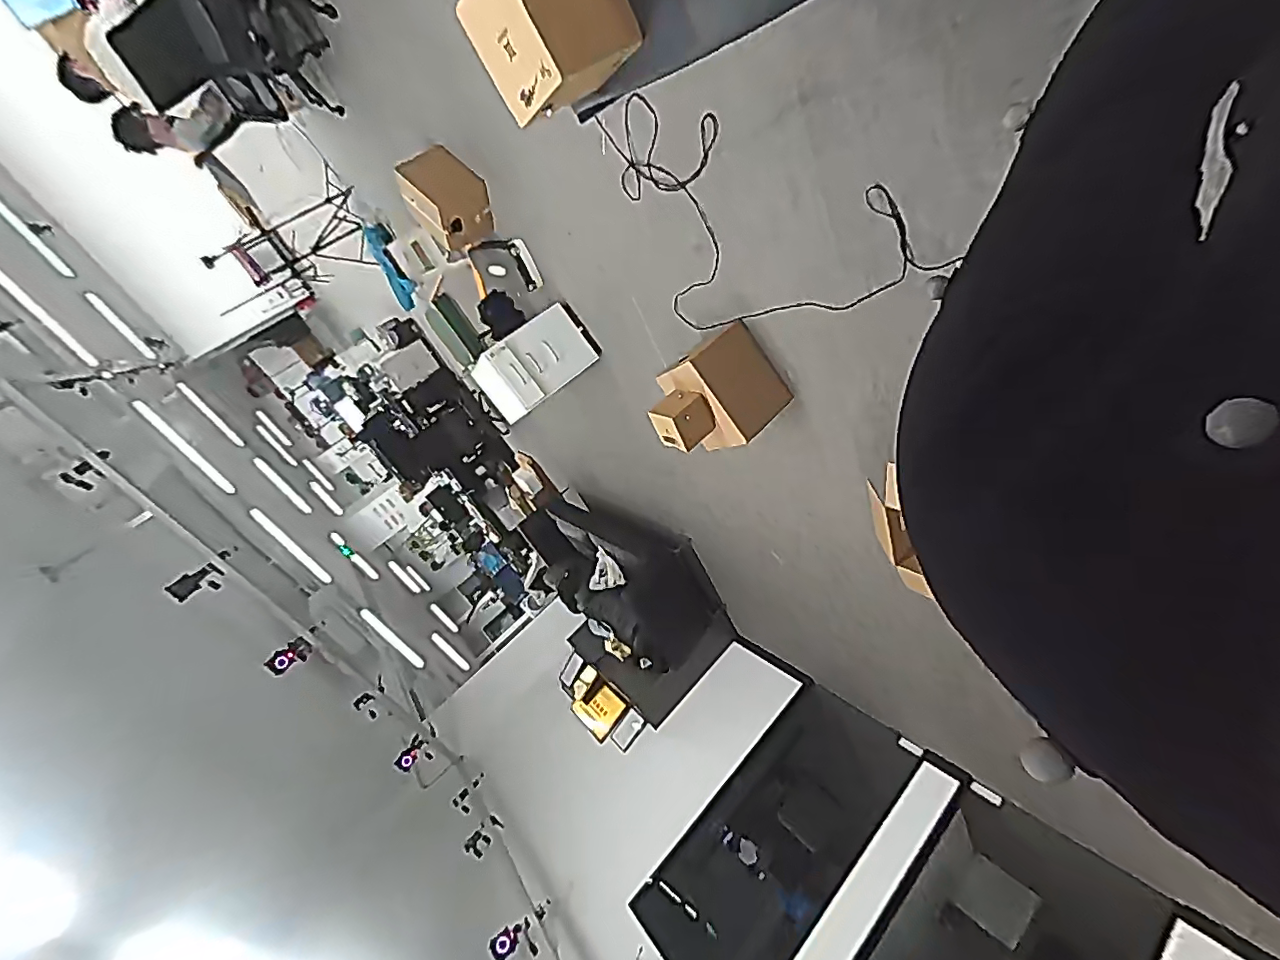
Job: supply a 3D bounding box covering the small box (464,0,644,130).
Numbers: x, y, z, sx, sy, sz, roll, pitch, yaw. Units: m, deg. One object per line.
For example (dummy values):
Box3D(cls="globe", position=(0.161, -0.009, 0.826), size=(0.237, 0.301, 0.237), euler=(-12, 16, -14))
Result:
Box3D(cls="small box", position=(-0.127, -0.681, 0.817), size=(0.168, 0.176, 0.179), euler=(13, 140, 57))
